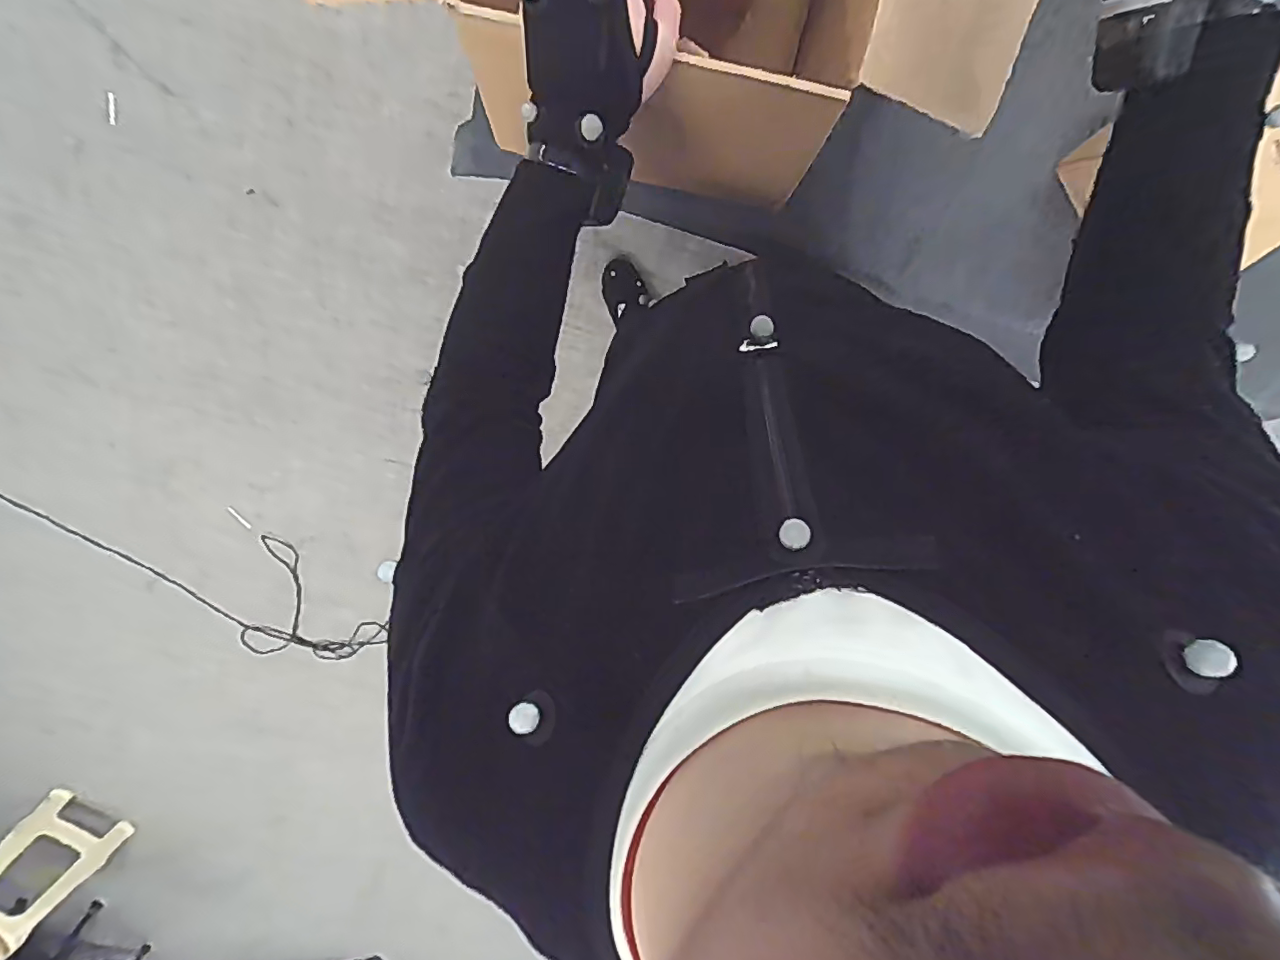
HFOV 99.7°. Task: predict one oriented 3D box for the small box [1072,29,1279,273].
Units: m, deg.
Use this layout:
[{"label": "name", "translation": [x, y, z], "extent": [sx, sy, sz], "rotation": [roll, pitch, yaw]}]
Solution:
[{"label": "small box", "translation": [0.637, -0.356, 0.604], "extent": [0.179, 0.176, 0.168], "rotation": [-37, 107, 17]}]
